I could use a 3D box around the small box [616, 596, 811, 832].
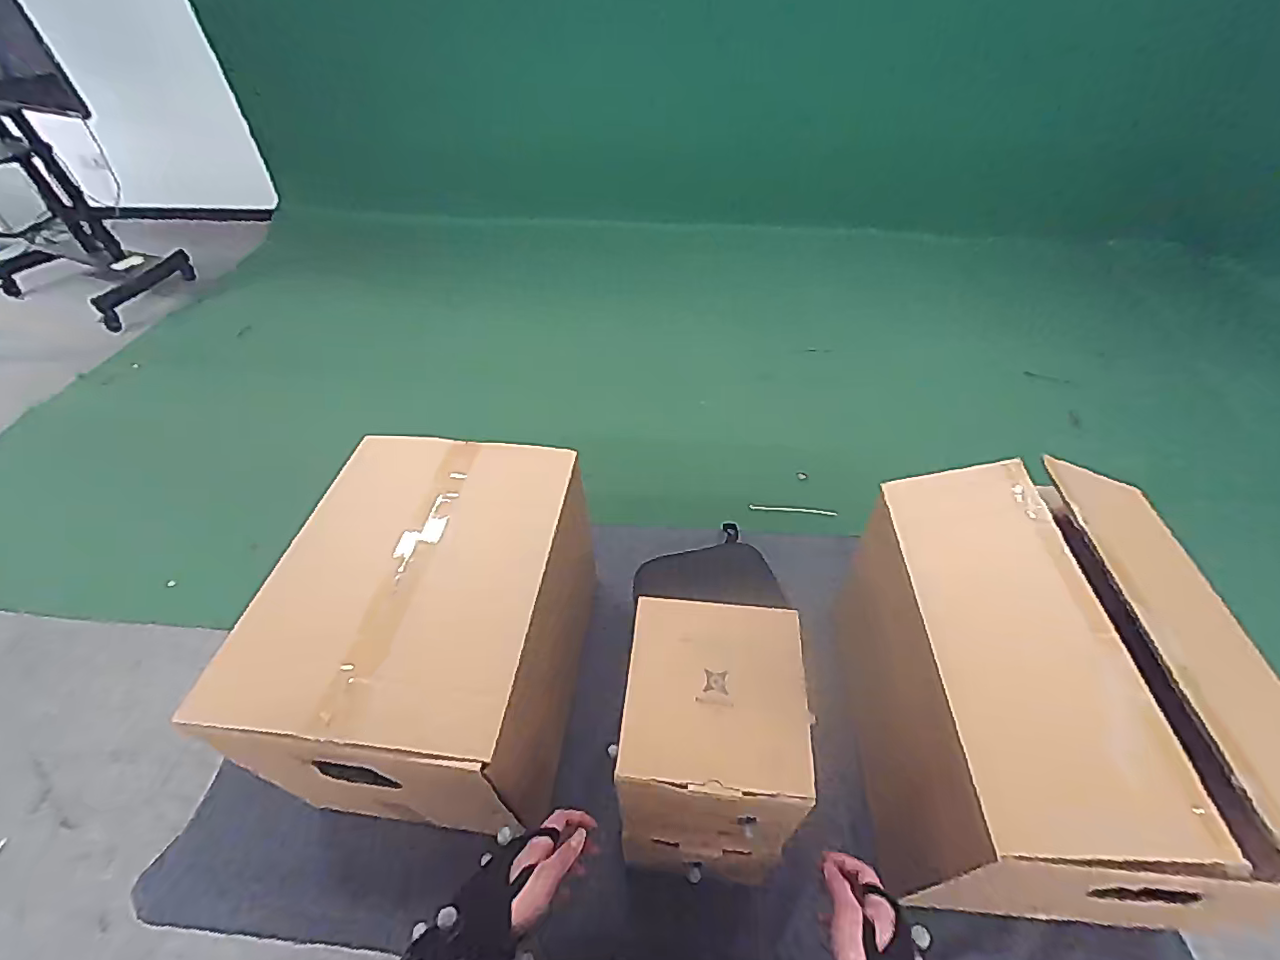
[{"bbox_3d":[0.070,0.245,0.564,0.168,0.176,0.179,4,46,3],"label":"small box"}]
